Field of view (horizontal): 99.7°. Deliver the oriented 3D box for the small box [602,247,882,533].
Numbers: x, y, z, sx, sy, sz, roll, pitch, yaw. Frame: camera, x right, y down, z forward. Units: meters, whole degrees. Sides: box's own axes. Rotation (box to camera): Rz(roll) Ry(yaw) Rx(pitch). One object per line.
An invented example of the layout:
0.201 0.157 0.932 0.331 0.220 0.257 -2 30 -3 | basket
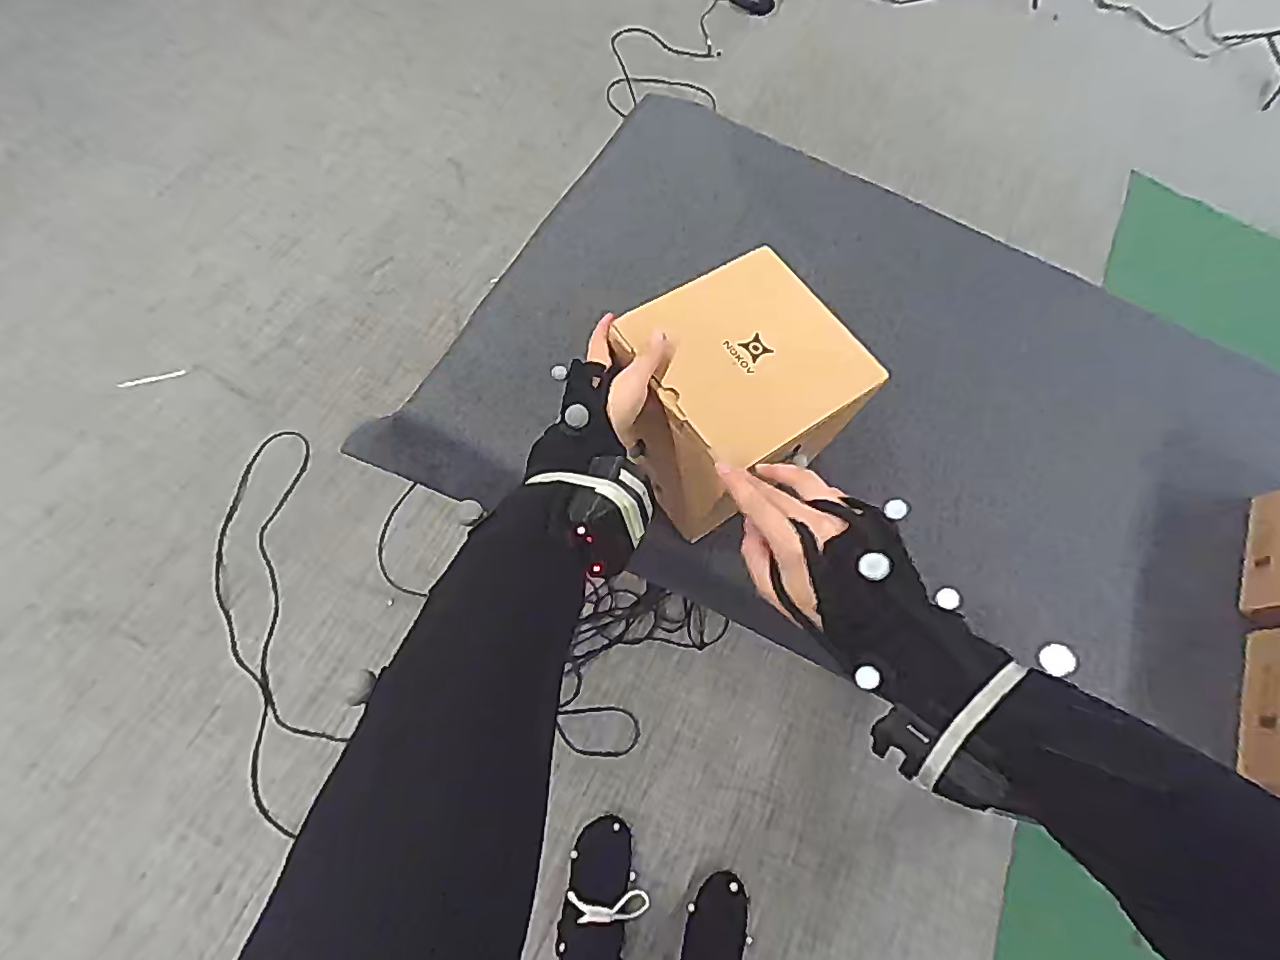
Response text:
0.078 -0.076 0.513 0.179 0.176 0.168 -30 74 -17 | small box
